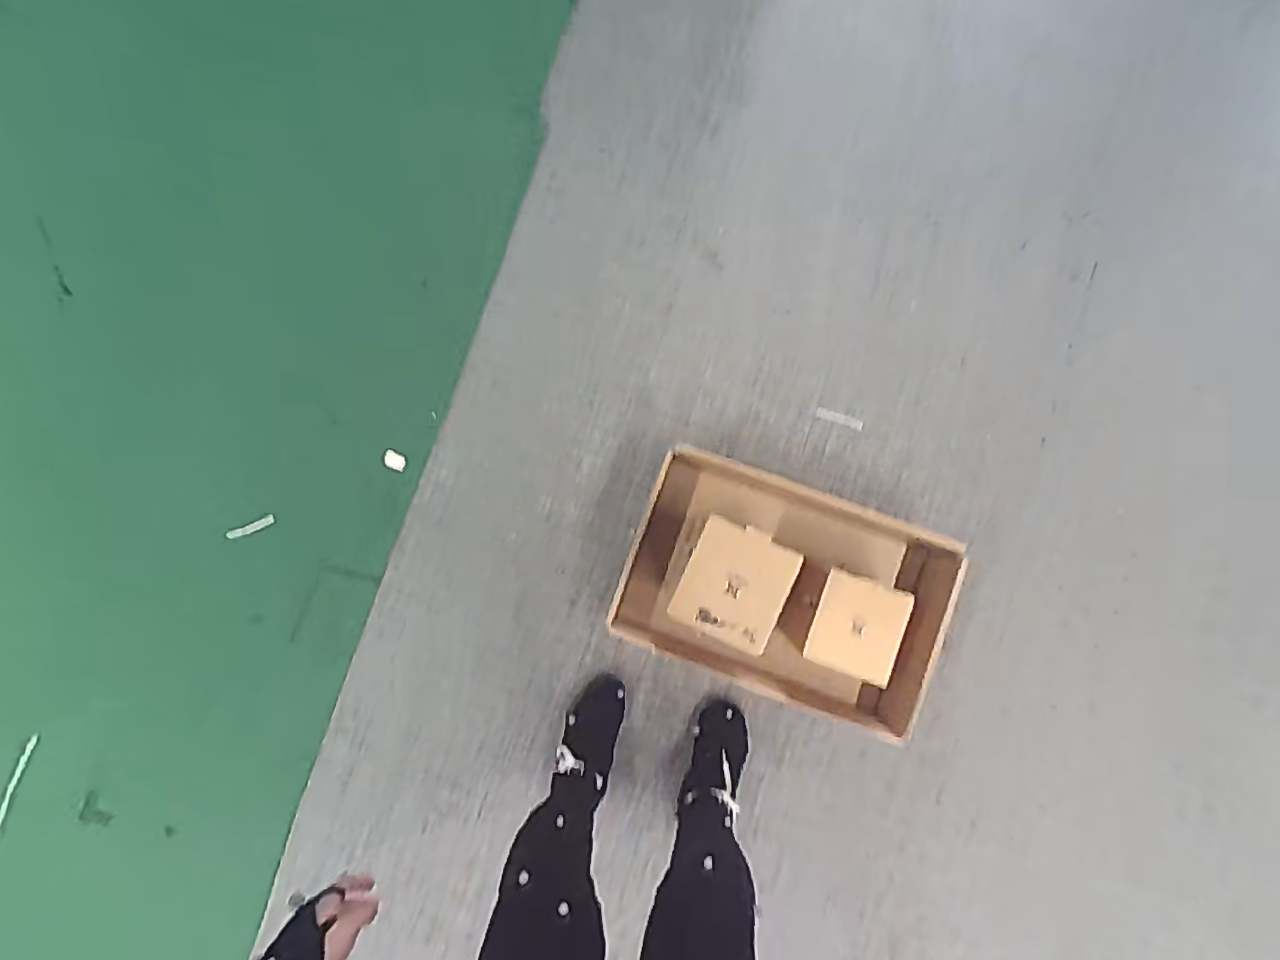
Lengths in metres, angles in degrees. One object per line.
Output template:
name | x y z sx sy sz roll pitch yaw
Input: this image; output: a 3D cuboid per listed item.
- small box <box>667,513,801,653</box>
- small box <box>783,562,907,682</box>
small box | 0.152 0.172 0.951 0.168 0.176 0.179 25 86 2
small box | 0.406 0.279 1.104 0.168 0.176 0.179 19 87 3
